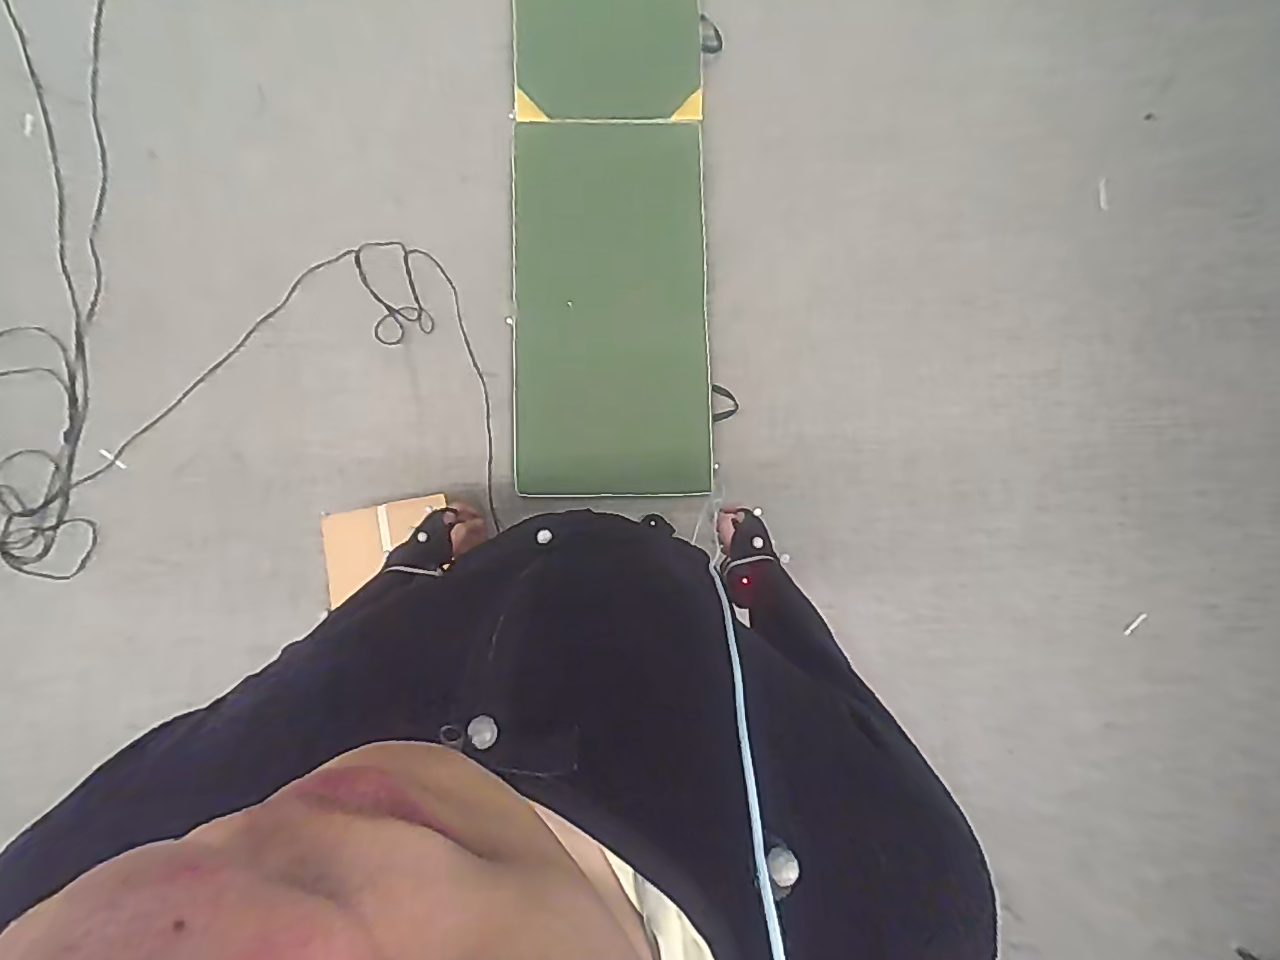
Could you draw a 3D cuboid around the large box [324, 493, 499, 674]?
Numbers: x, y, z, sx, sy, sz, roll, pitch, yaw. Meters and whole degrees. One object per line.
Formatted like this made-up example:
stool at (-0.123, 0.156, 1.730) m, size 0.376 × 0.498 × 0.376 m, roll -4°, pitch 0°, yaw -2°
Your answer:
large box at (-0.604, 0.268, 1.485) m, size 0.320 × 0.320 × 0.408 m, roll -10°, pitch 84°, yaw -2°
